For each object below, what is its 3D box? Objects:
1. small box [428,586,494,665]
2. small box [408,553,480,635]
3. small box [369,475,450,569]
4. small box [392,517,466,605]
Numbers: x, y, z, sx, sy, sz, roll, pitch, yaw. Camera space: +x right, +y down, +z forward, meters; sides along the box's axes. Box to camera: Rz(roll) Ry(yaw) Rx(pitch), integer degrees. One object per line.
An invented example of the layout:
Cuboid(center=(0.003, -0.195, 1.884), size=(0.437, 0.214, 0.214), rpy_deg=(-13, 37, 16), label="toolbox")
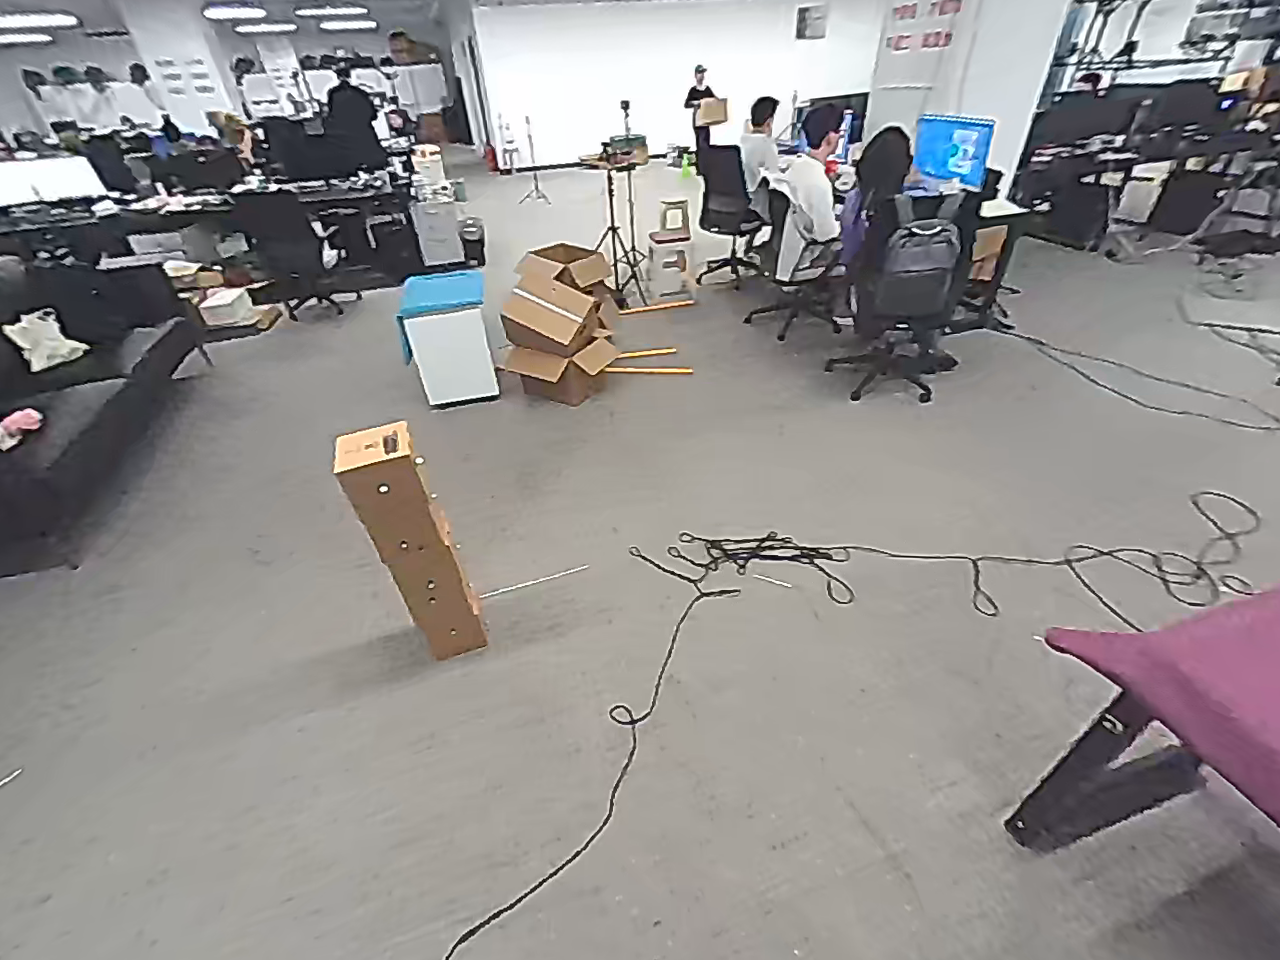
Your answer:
Cuboid(center=(-0.605, 0.495, 1.829), size=(0.179, 0.176, 0.168), rpy_deg=(-14, 38, -13), label="small box")
Cuboid(center=(-0.626, 0.366, 1.729), size=(0.179, 0.176, 0.168), rpy_deg=(-14, 39, -12), label="small box")
Cuboid(center=(-0.642, 0.117, 1.519), size=(0.168, 0.176, 0.179), rpy_deg=(-16, 40, -14), label="small box")
Cuboid(center=(-0.628, 0.243, 1.621), size=(0.179, 0.176, 0.168), rpy_deg=(-15, 38, -14), label="small box")
